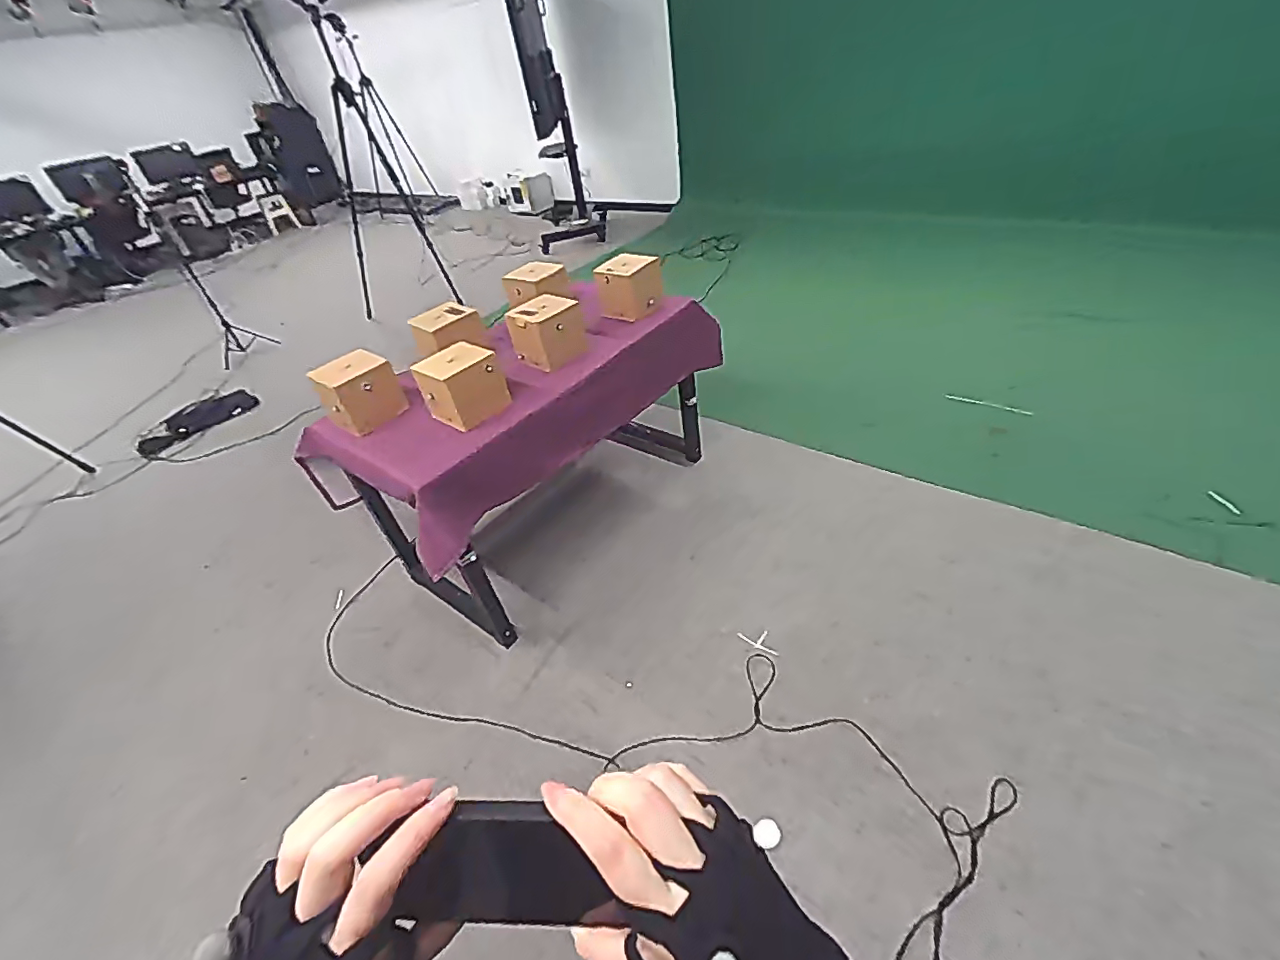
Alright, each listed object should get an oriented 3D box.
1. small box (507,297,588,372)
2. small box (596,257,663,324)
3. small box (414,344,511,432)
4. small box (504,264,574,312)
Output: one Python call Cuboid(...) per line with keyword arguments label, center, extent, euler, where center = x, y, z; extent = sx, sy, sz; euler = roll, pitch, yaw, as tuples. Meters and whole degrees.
Cuboid(label="small box", center=(-0.289, -0.464, 1.726), extent=(0.168, 0.176, 0.179), euler=(25, 50, 35))
Cuboid(label="small box", center=(-0.032, -0.678, 1.928), extent=(0.168, 0.176, 0.179), euler=(21, 48, 33))
Cuboid(label="small box", center=(-0.494, -0.259, 1.525), extent=(0.168, 0.176, 0.179), euler=(23, 48, 34))
Cuboid(label="small box", center=(-0.369, -0.684, 2.007), extent=(0.179, 0.176, 0.168), euler=(20, 49, 31))
